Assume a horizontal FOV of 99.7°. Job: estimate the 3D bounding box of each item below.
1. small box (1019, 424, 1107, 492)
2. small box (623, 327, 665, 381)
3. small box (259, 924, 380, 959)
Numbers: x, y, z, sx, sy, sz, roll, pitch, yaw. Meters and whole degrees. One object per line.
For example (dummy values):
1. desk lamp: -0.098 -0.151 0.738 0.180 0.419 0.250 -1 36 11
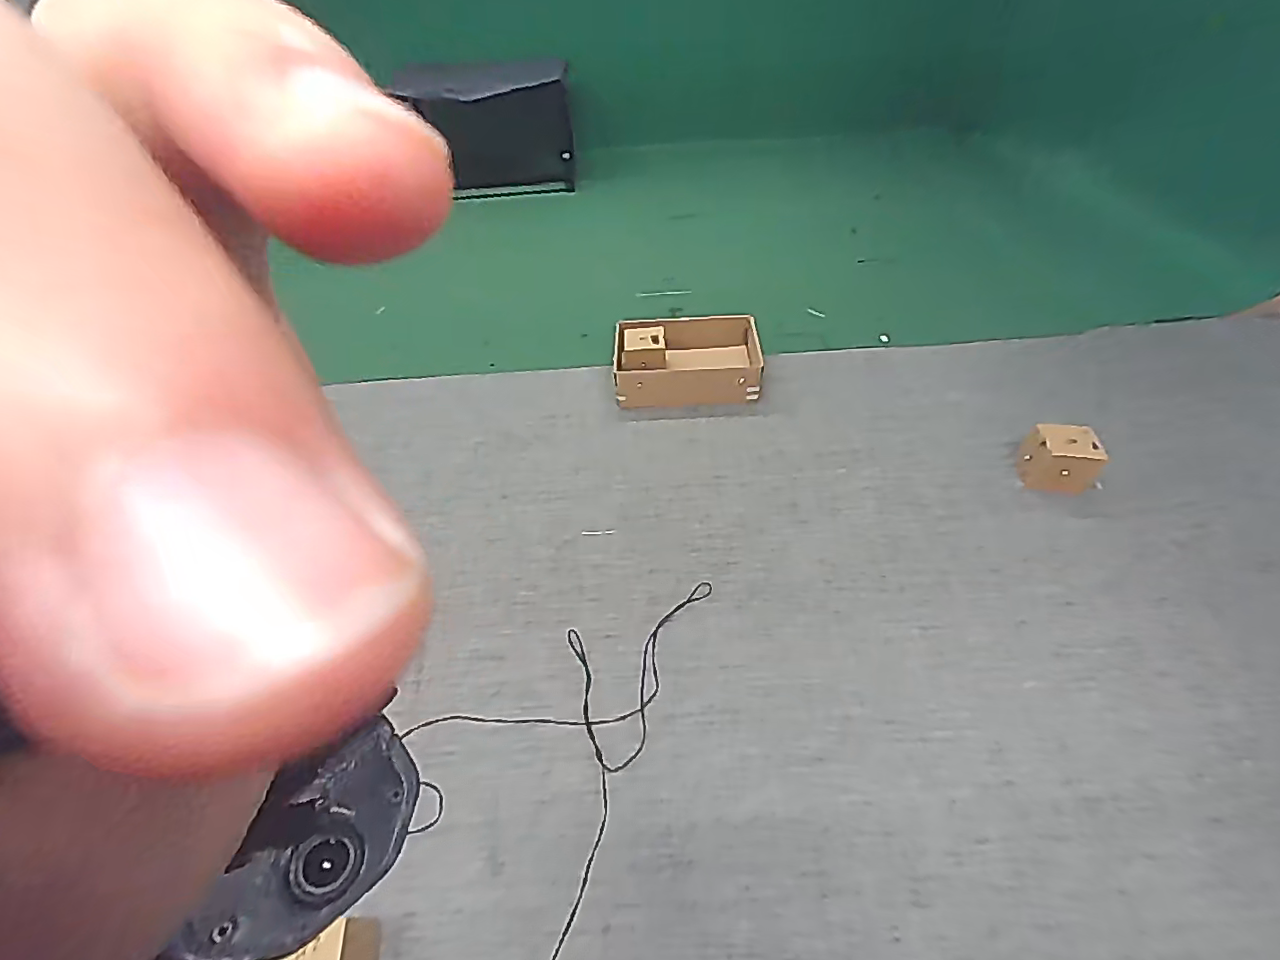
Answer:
1. small box: 1.449 -0.075 1.872 0.179 0.176 0.168 5 48 10
2. small box: 0.018 -0.549 2.362 0.179 0.176 0.168 -3 48 2
3. small box: -0.629 0.996 1.051 0.168 0.176 0.179 -10 46 -4
